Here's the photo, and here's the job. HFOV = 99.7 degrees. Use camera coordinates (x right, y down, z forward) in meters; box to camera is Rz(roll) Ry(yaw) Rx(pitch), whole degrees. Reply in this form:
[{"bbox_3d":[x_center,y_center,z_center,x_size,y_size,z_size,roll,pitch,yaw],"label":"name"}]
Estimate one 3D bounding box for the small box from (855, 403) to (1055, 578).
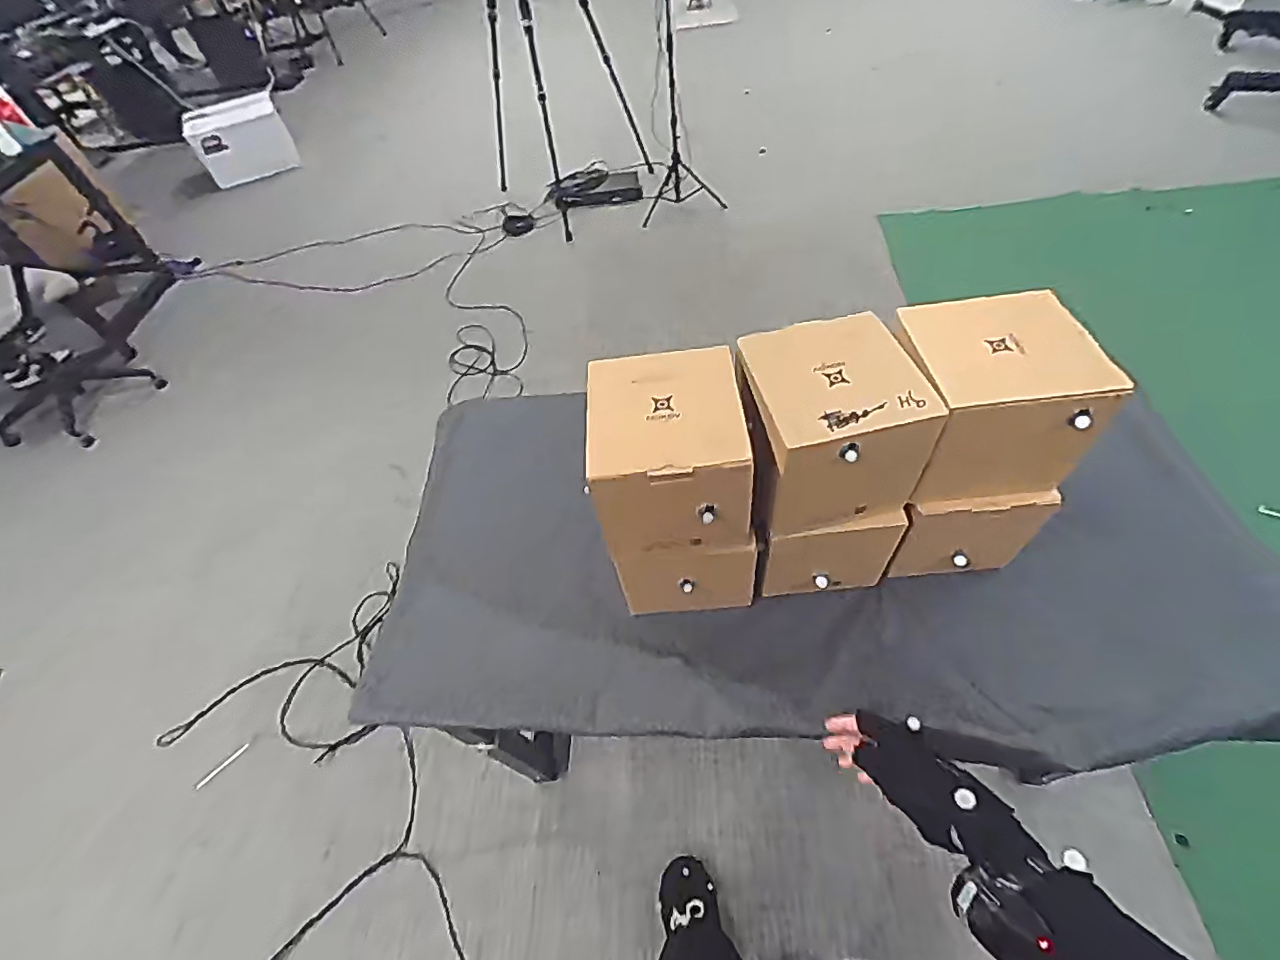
[{"bbox_3d":[0.418,0.018,0.758,0.168,0.176,0.179,-6,52,5],"label":"small box"}]
